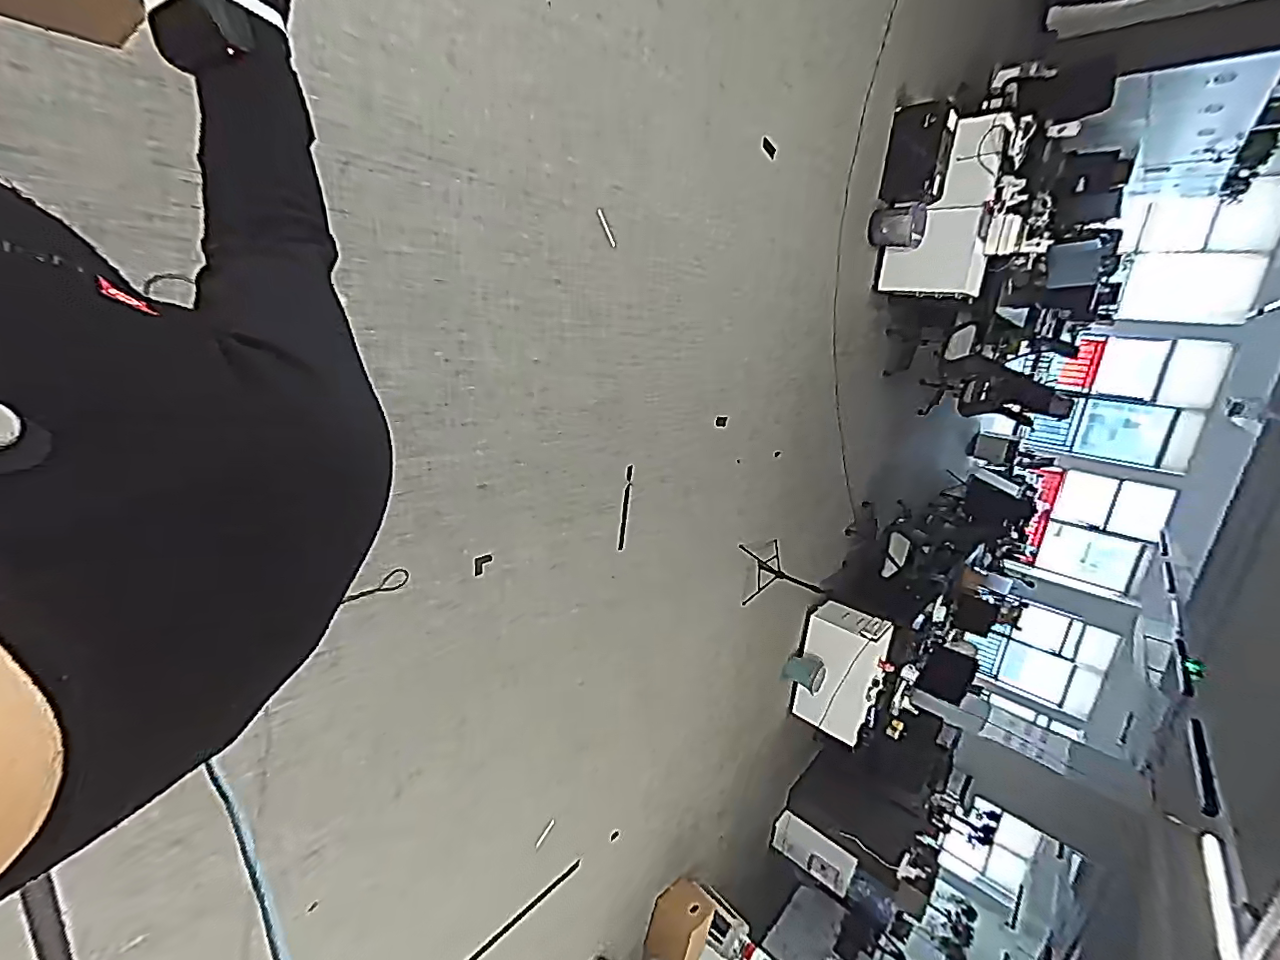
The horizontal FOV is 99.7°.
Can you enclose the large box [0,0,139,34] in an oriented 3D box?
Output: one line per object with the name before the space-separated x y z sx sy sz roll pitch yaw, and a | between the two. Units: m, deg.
large box | -0.542 -0.505 0.267 0.408 0.320 0.320 -17 121 -47
